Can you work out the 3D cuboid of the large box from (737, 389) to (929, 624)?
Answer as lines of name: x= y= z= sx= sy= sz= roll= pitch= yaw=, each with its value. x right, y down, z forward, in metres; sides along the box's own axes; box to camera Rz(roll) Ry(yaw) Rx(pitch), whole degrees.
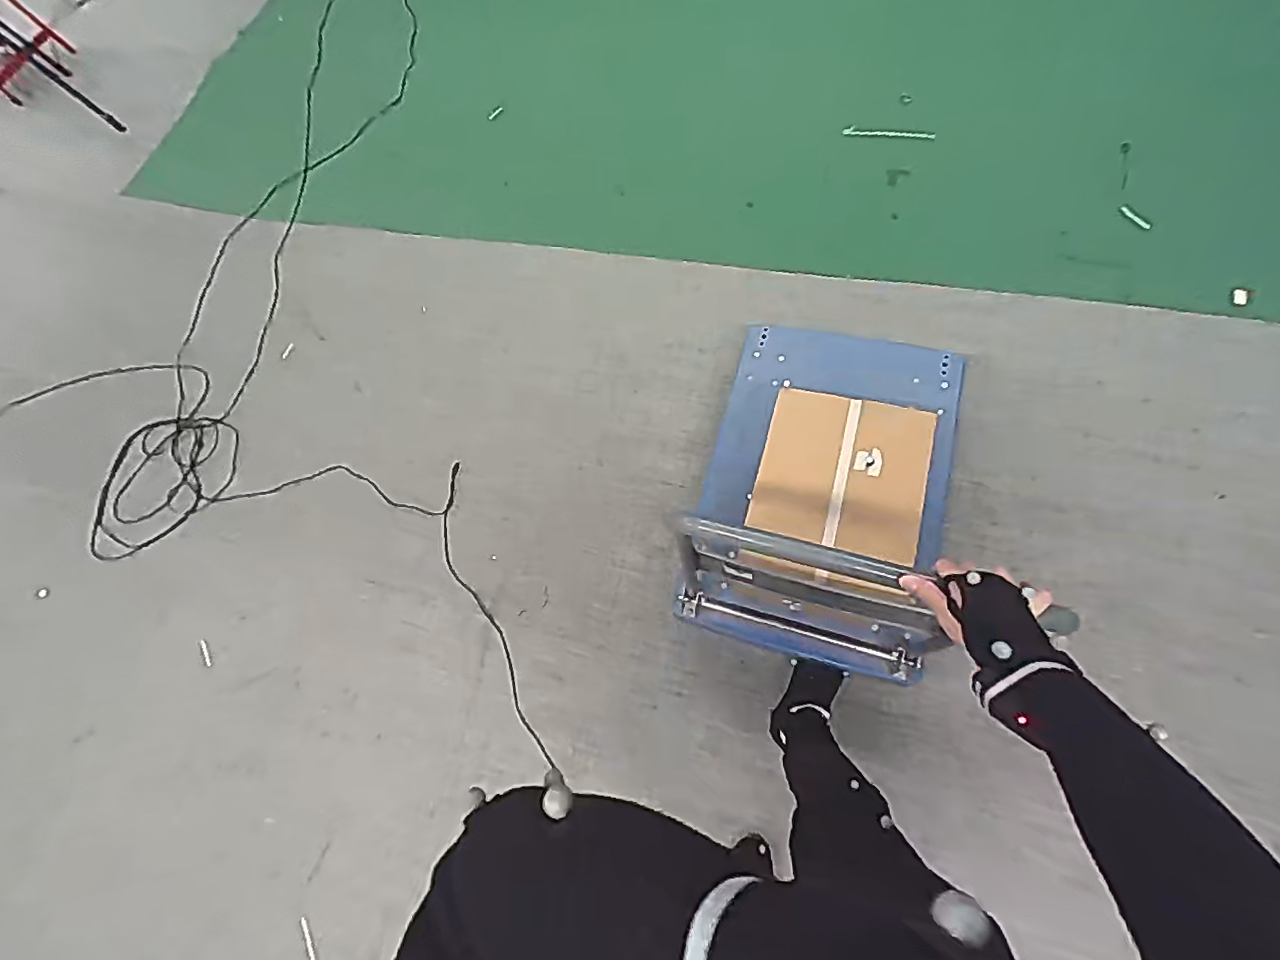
large box: x=0.408 y=0.069 z=1.195 sx=0.320 sy=0.320 sz=0.408 roll=13 pitch=71 yaw=14
